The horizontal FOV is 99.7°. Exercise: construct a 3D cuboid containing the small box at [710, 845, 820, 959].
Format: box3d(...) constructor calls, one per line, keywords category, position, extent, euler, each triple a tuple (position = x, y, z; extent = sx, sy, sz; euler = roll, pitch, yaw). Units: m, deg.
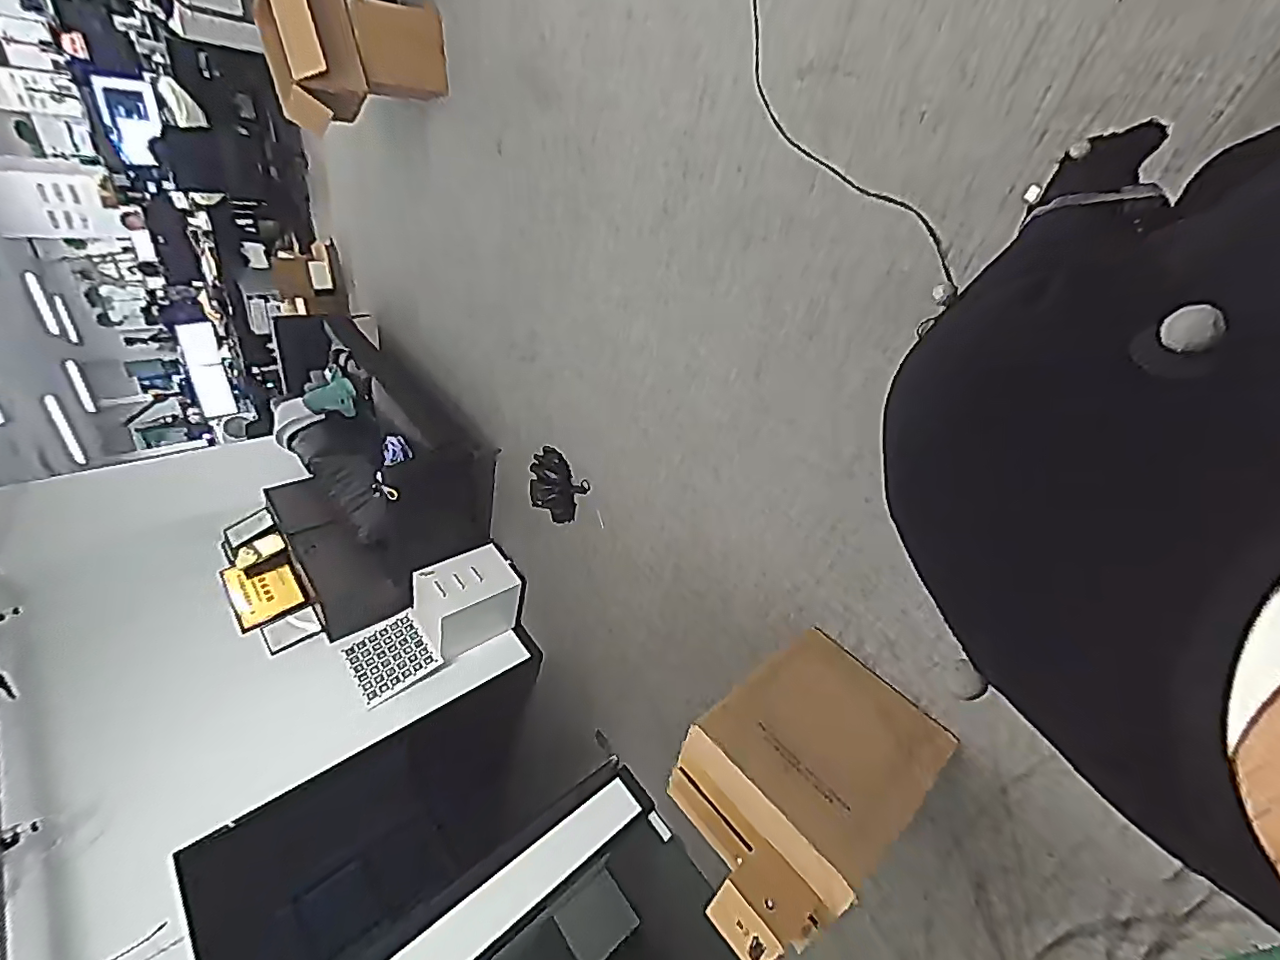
box3d(category="small box", position=(0.310, 1.061, 1.335), extent=(0.179, 0.176, 0.168), euler=(38, 122, 35))
